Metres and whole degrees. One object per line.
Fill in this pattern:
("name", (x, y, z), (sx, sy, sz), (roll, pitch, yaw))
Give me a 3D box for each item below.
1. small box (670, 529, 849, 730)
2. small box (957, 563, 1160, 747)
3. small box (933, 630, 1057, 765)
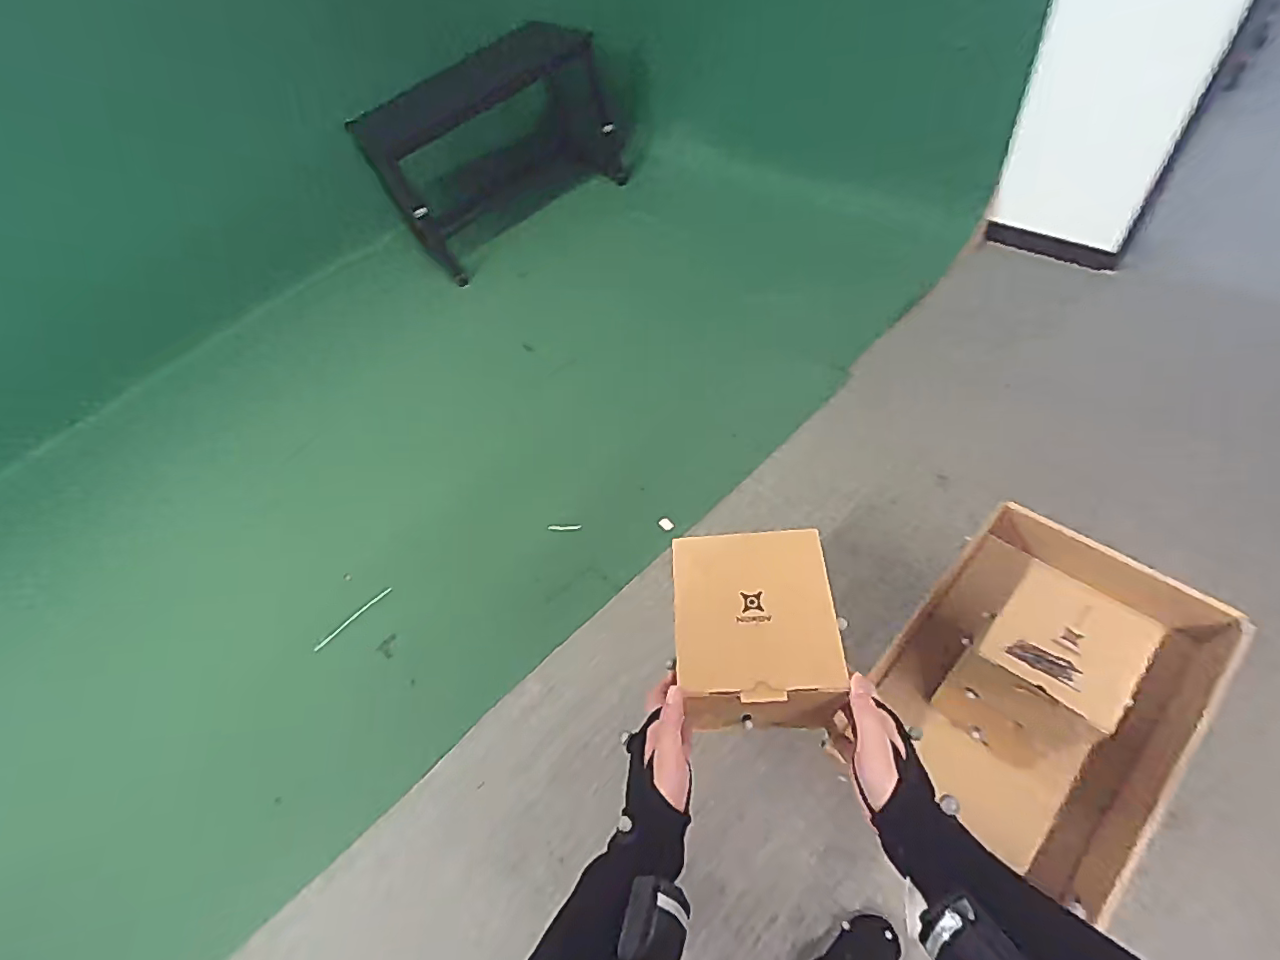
("small box", (0.124, 0.177, 0.624), (0.168, 0.176, 0.179), (-6, 56, 6))
("small box", (0.607, 0.266, 0.810), (0.168, 0.176, 0.179), (34, 69, 32))
("small box", (0.642, 0.359, 0.941), (0.179, 0.176, 0.168), (-43, 56, -16))
